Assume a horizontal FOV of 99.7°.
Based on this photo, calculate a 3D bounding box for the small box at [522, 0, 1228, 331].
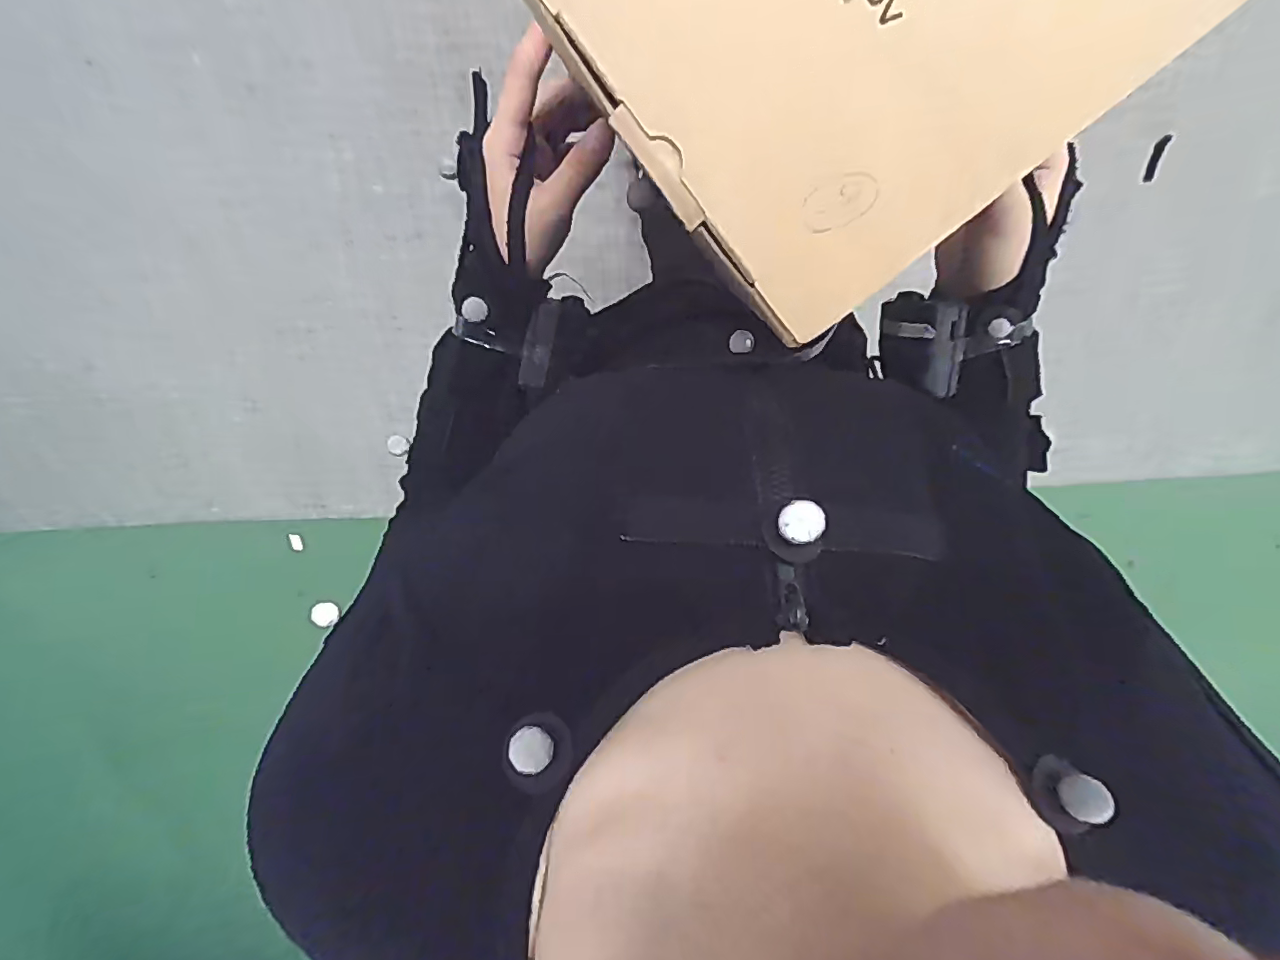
[{"bbox_3d":[0.072,-0.194,0.228,0.179,0.176,0.168,-37,109,18],"label":"small box"}]
